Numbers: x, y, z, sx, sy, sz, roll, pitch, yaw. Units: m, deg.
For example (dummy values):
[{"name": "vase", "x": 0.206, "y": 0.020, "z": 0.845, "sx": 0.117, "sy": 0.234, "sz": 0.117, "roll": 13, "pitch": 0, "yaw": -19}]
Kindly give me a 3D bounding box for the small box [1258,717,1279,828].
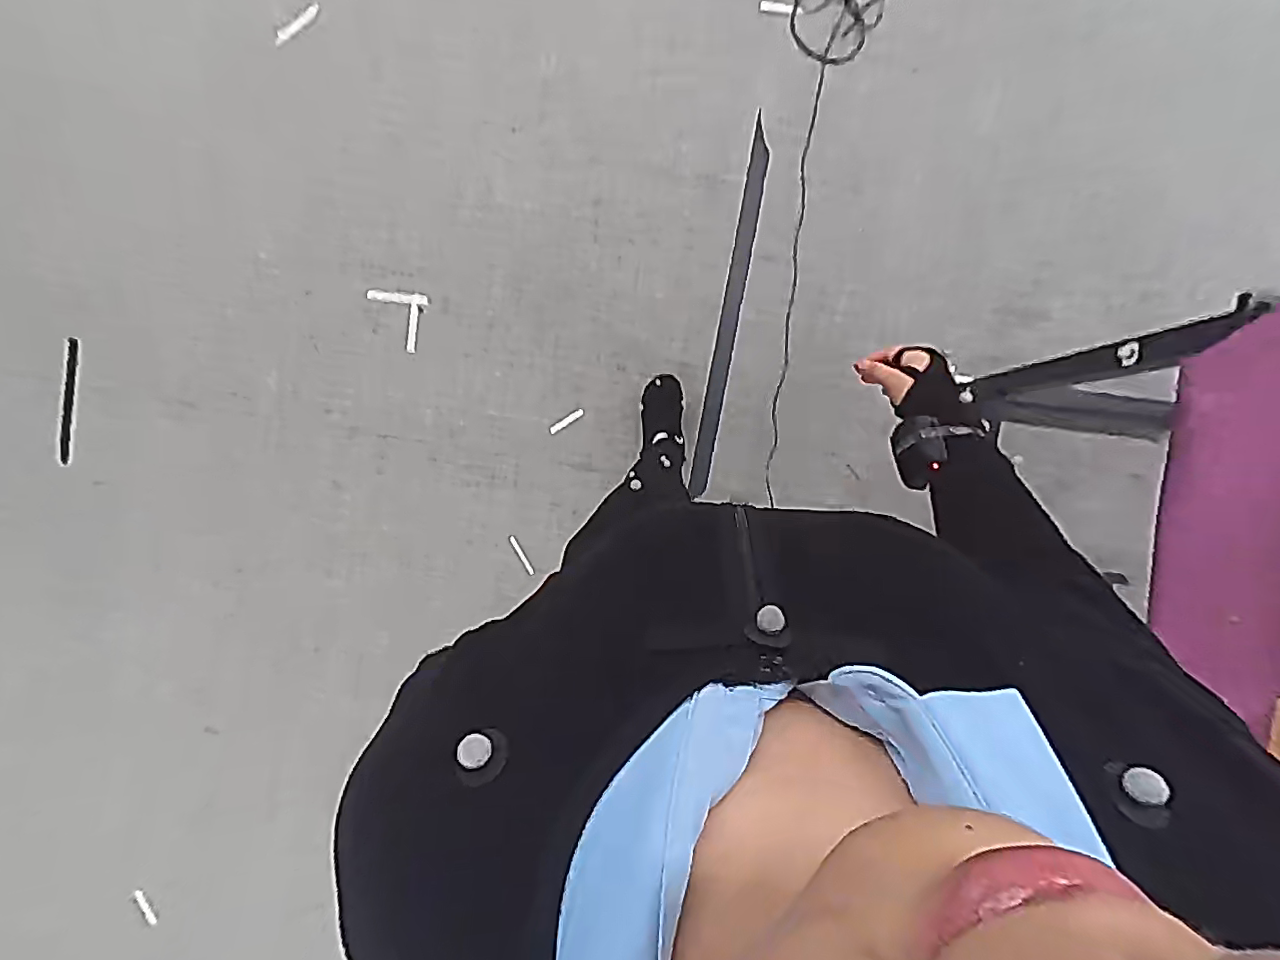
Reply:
[{"name": "small box", "x": 0.922, "y": 0.390, "z": 0.638, "sx": 0.179, "sy": 0.176, "sz": 0.168, "roll": 8, "pitch": 93, "yaw": 3}]
